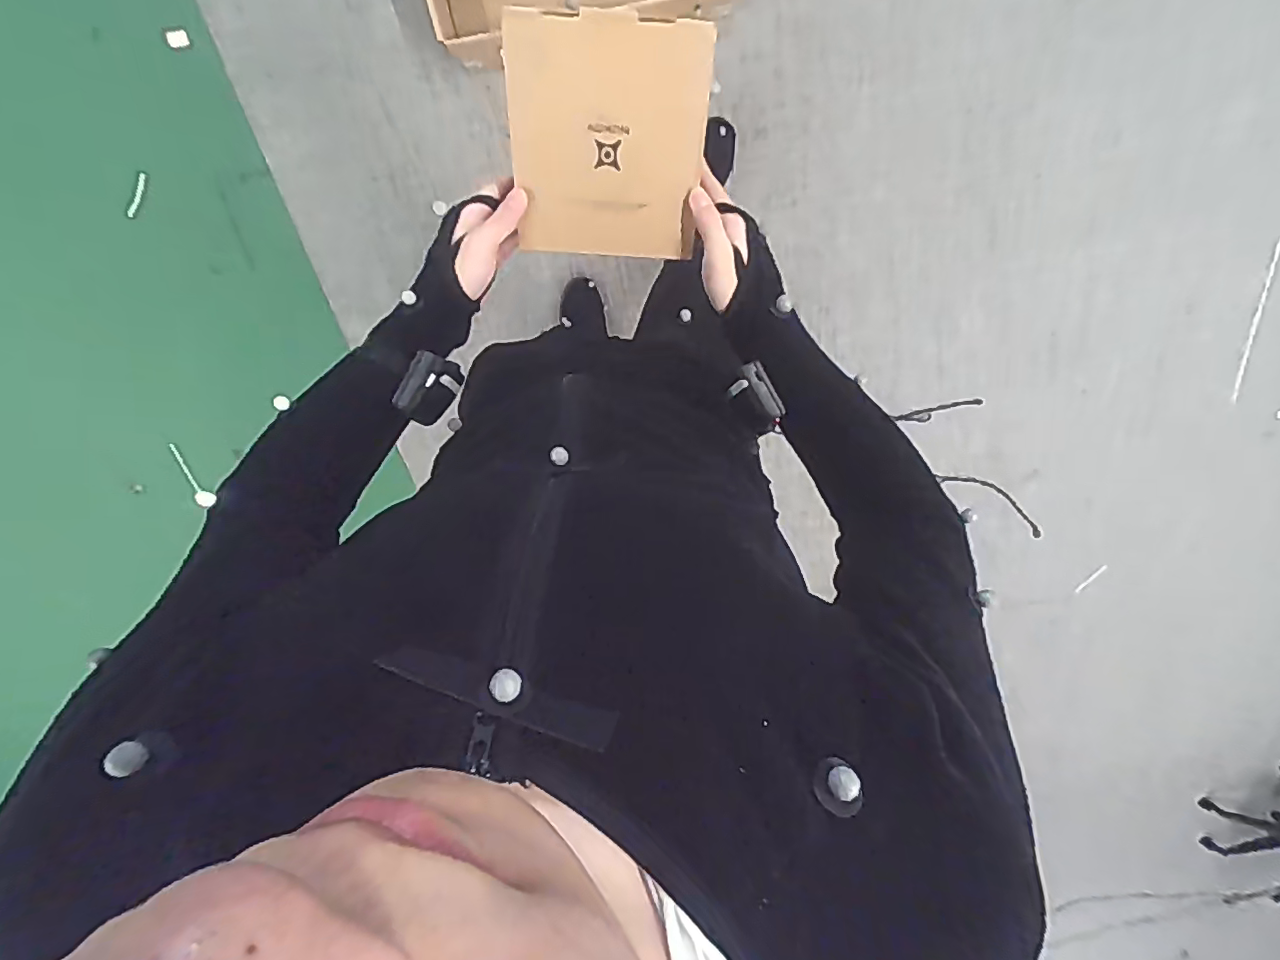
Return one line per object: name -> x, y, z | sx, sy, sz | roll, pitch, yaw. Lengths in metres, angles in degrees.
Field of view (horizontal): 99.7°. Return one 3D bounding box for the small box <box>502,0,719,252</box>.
small box -> -0.028, -0.336, 0.513 | 0.168, 0.176, 0.179 | 4, 128, -2
